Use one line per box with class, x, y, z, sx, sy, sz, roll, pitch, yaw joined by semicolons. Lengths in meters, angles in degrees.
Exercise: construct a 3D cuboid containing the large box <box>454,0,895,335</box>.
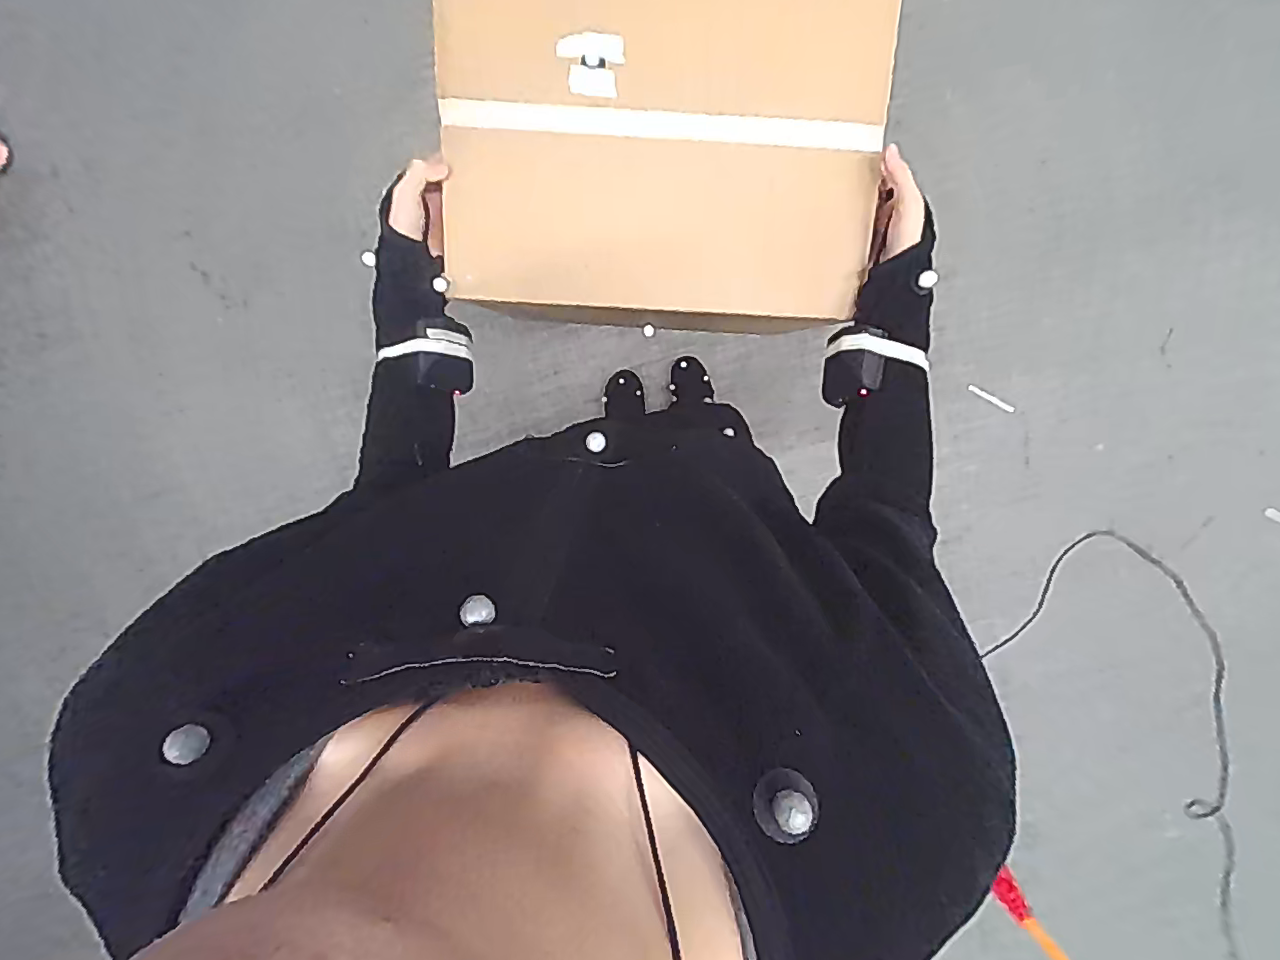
large box;0.026;-0.346;0.653;0.408;0.320;0.320;3;101;-1
